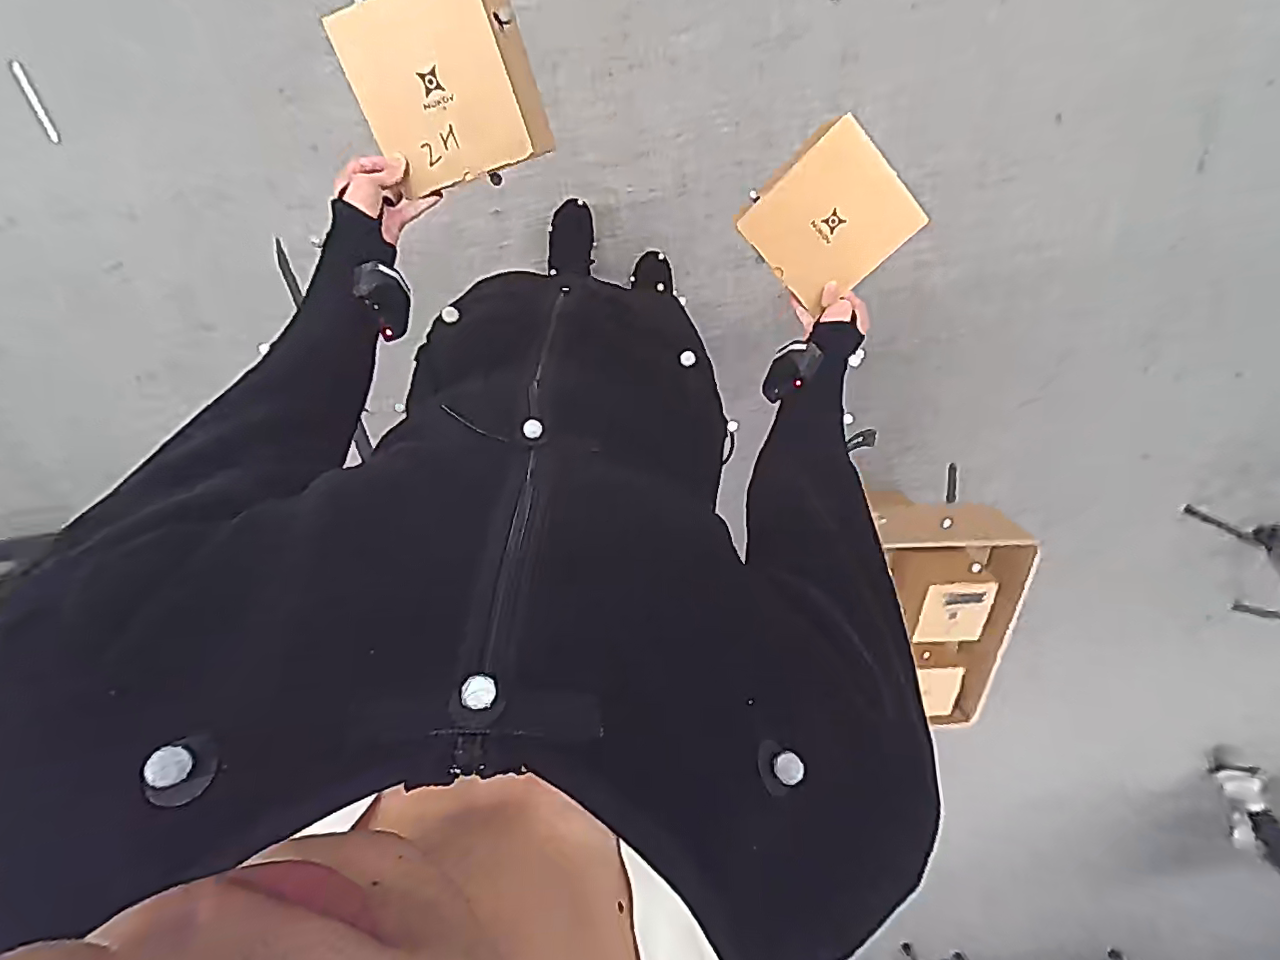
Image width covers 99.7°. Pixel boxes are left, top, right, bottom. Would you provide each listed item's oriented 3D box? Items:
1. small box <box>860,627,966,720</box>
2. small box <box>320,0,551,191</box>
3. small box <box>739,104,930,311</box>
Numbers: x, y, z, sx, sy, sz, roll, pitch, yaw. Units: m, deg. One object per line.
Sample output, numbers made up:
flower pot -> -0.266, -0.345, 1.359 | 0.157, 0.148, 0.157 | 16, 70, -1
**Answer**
small box -> 0.723, 0.513, 1.449 | 0.179, 0.176, 0.168 | -2, 115, -4
small box -> -0.219, -0.465, 0.635 | 0.168, 0.176, 0.179 | -13, 123, 10
small box -> 0.250, -0.370, 0.744 | 0.168, 0.176, 0.179 | 42, 117, -14
